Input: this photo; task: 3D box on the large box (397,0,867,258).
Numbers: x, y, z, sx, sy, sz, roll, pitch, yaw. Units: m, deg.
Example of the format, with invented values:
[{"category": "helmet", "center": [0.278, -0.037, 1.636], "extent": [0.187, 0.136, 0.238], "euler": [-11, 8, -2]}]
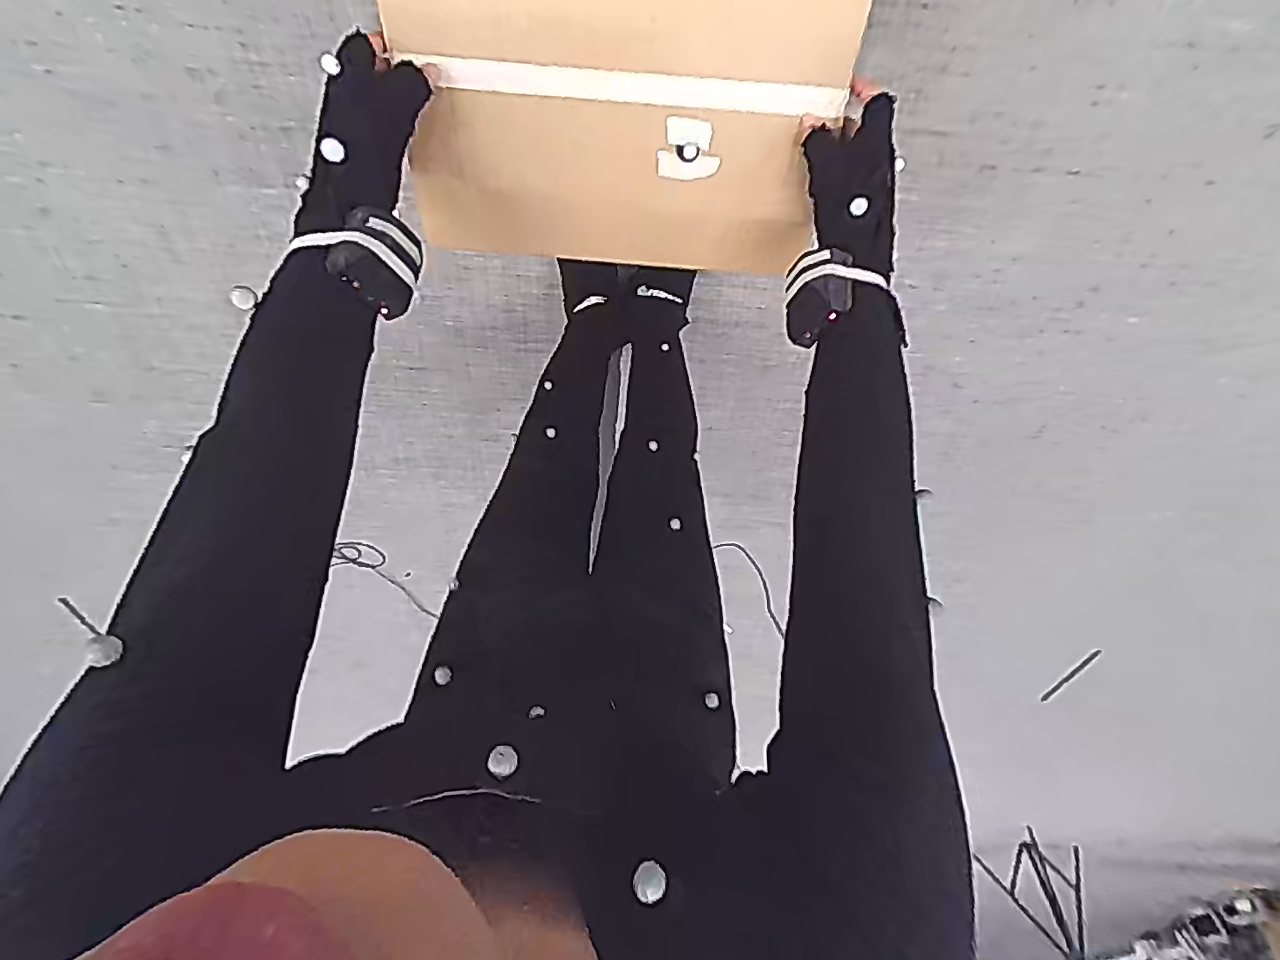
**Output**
[{"category": "large box", "center": [-0.008, -0.462, 0.600], "extent": [0.408, 0.320, 0.320], "euler": [4, 132, -1]}]
